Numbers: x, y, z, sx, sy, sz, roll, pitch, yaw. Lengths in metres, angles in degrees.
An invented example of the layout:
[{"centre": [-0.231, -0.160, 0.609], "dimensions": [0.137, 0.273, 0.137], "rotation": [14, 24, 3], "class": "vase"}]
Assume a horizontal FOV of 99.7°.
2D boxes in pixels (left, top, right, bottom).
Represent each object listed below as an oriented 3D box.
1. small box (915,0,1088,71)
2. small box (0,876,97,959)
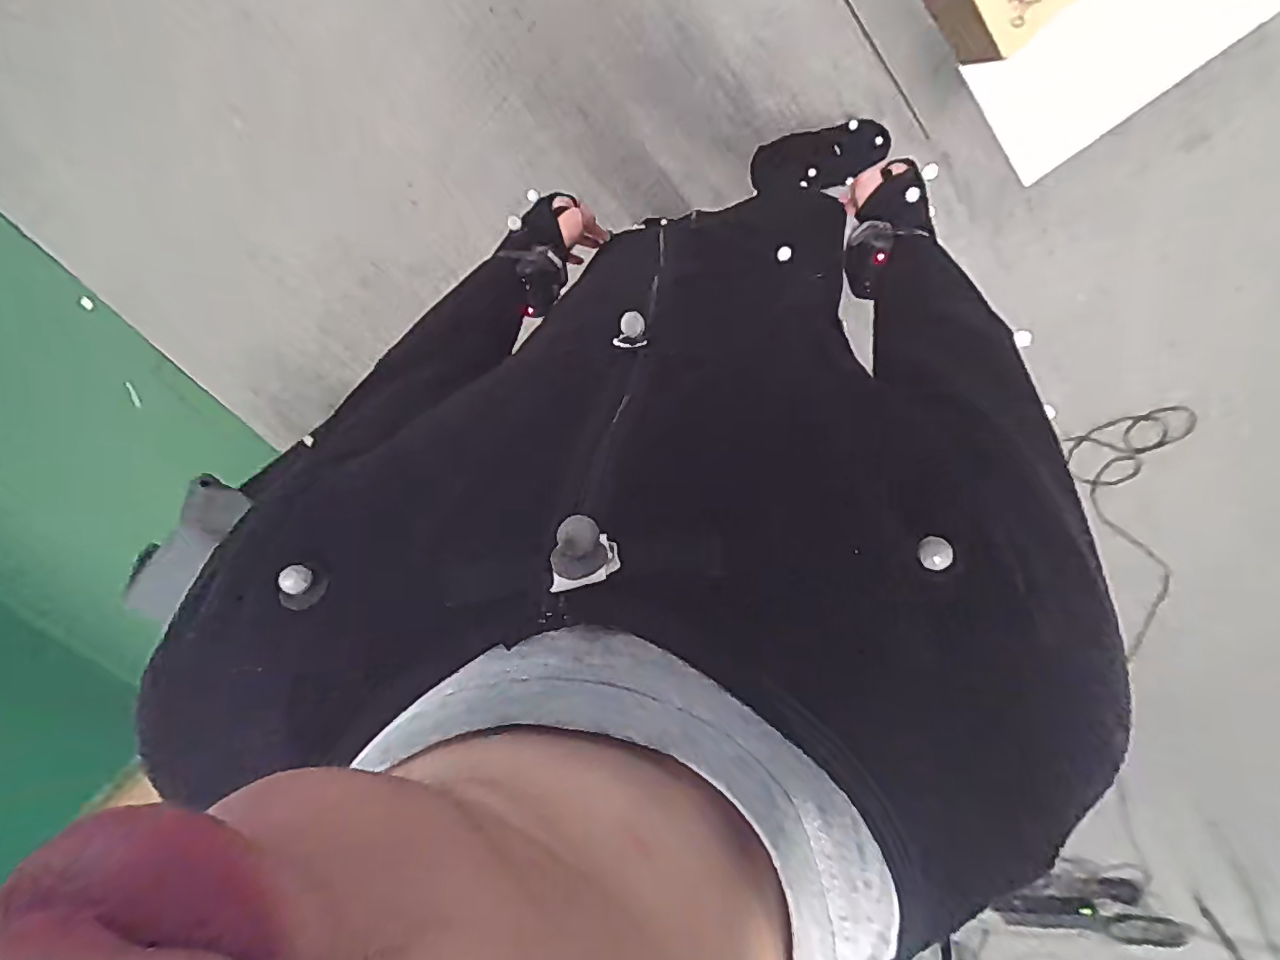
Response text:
[{"centre": [0.358, -0.519, 0.491], "dimensions": [0.179, 0.176, 0.168], "rotation": [-33, 110, 31], "class": "small box"}, {"centre": [-1.100, 0.807, 0.923], "dimensions": [0.179, 0.176, 0.168], "rotation": [-27, 115, 30], "class": "small box"}]
